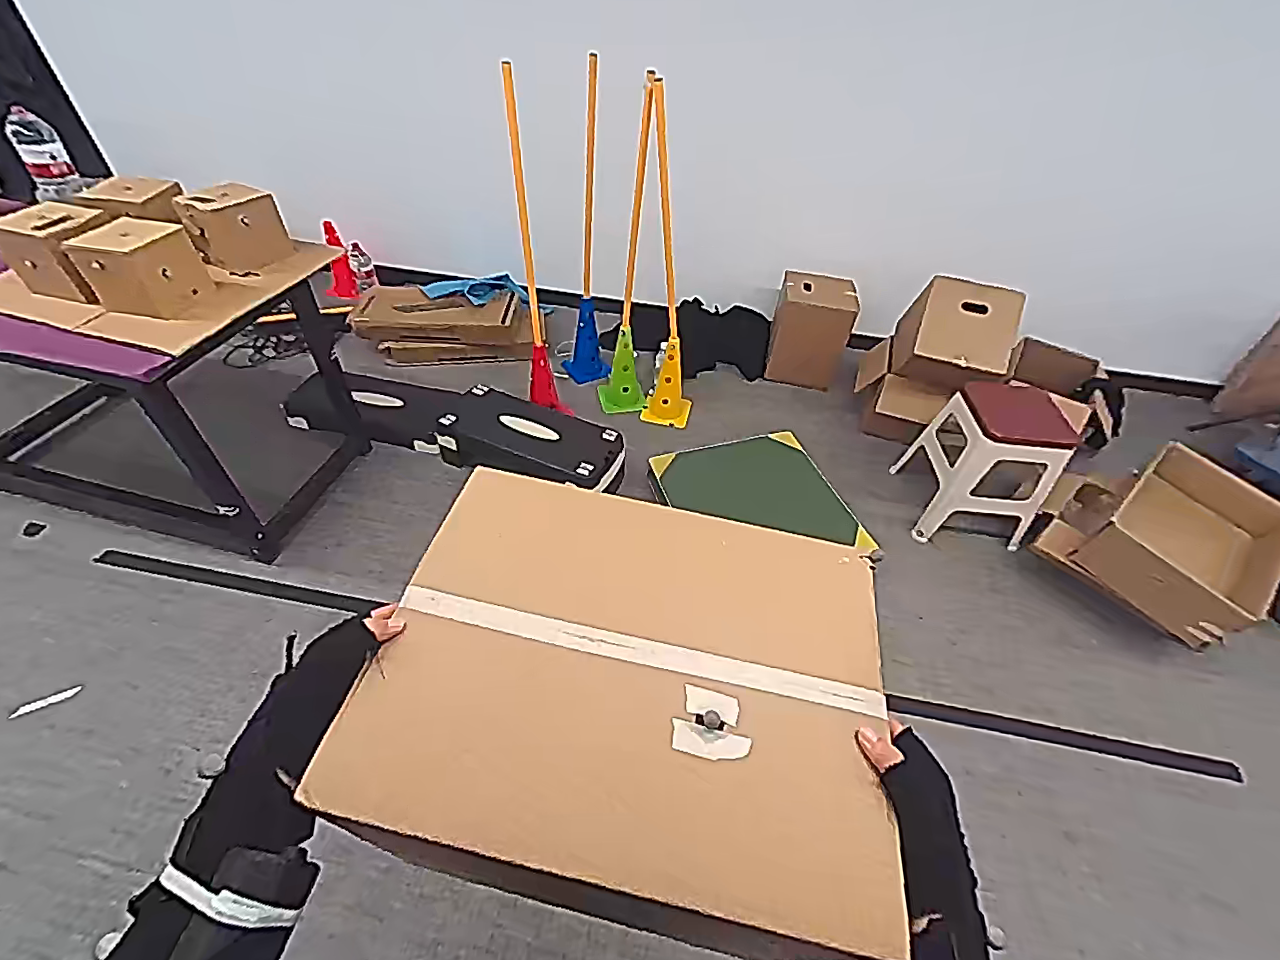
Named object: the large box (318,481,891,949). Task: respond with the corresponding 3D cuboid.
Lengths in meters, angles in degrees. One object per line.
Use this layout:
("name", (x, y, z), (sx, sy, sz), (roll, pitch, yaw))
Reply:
("large box", (-0.018, 0.246, 0.568), (0.408, 0.320, 0.320), (12, 49, 3))
